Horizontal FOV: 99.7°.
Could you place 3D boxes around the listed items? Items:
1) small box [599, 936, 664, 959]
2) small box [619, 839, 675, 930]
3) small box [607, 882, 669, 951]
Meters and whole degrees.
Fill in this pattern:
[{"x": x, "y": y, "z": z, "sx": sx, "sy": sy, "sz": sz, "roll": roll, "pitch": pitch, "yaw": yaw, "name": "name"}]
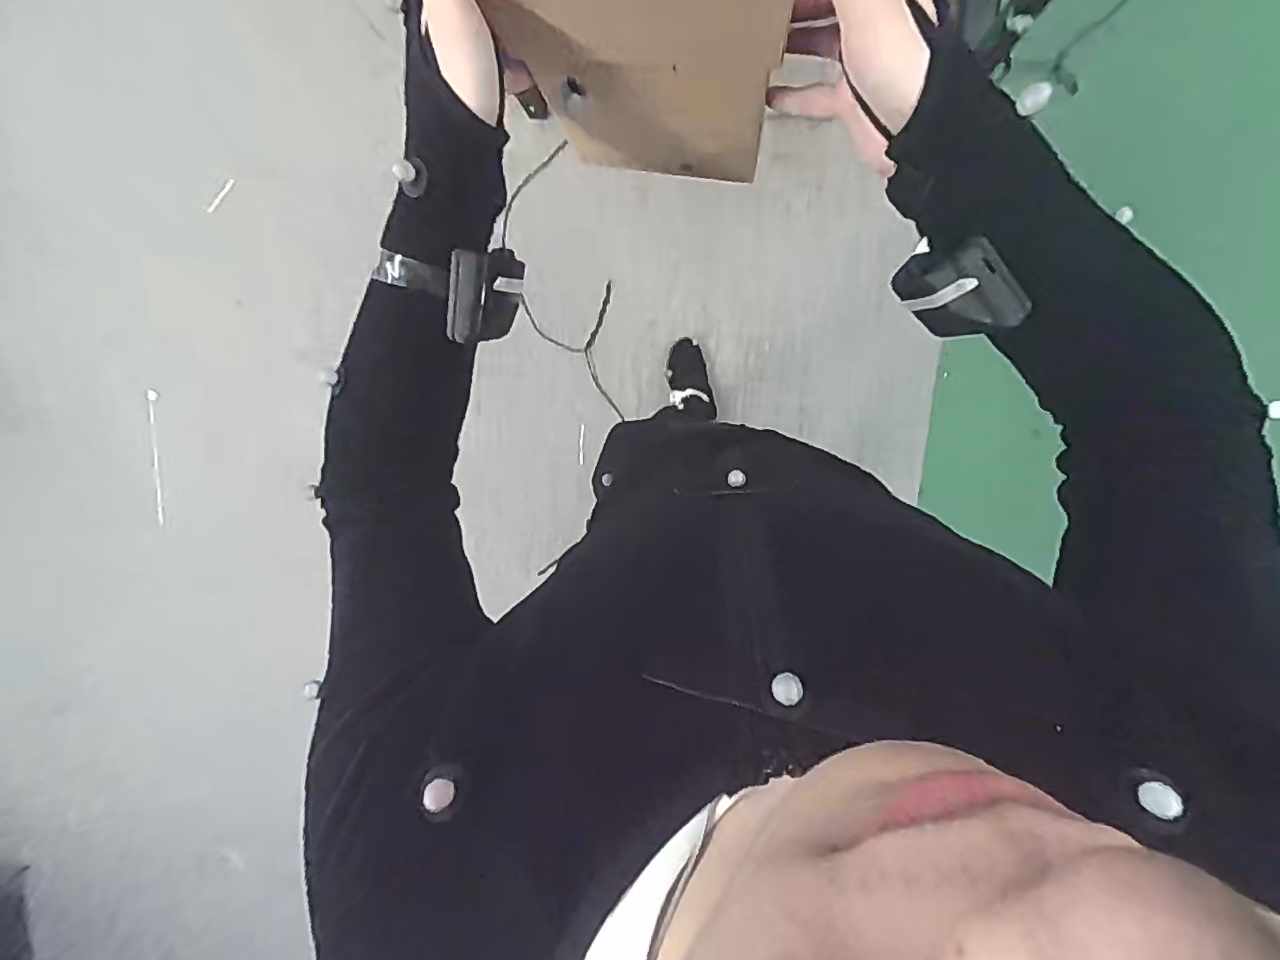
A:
[{"x": -0.032, "y": 1.358, "z": 1.424, "sx": 0.179, "sy": 0.176, "sz": 0.168, "roll": 5, "pitch": 99, "yaw": 7, "name": "small box"}, {"x": 0.019, "y": 1.307, "z": 1.743, "sx": 0.168, "sy": 0.176, "sz": 0.179, "roll": 7, "pitch": 99, "yaw": 8, "name": "small box"}, {"x": -0.007, "y": 1.329, "z": 1.585, "sx": 0.168, "sy": 0.176, "sz": 0.179, "roll": 4, "pitch": 99, "yaw": 7, "name": "small box"}]
